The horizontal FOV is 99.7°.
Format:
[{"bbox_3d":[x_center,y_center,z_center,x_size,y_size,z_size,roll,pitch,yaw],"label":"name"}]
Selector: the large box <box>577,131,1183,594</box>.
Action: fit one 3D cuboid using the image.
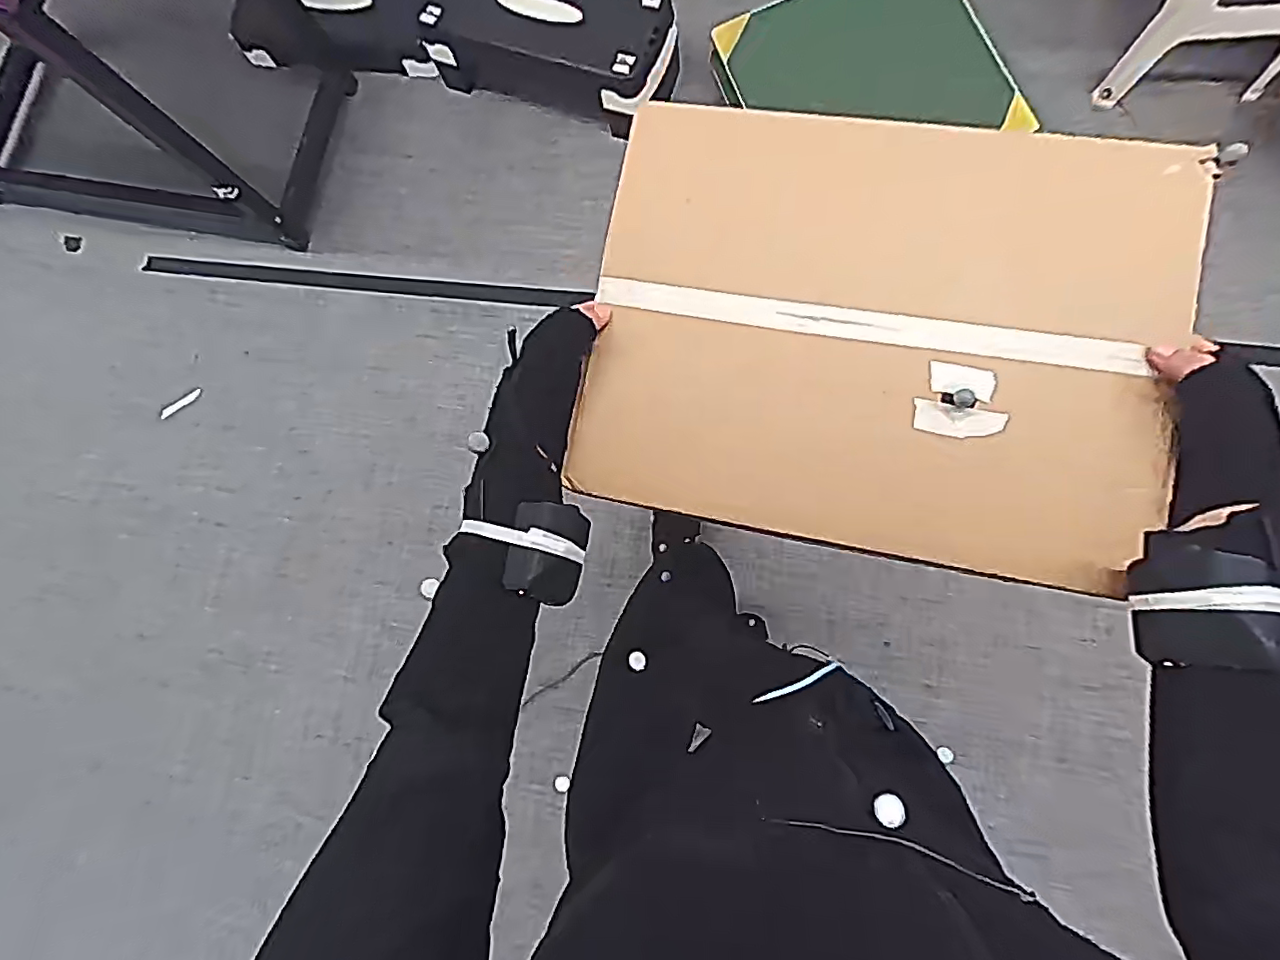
[{"bbox_3d":[0.185,-0.090,0.549,0.408,0.320,0.320,11,87,8],"label":"large box"}]
